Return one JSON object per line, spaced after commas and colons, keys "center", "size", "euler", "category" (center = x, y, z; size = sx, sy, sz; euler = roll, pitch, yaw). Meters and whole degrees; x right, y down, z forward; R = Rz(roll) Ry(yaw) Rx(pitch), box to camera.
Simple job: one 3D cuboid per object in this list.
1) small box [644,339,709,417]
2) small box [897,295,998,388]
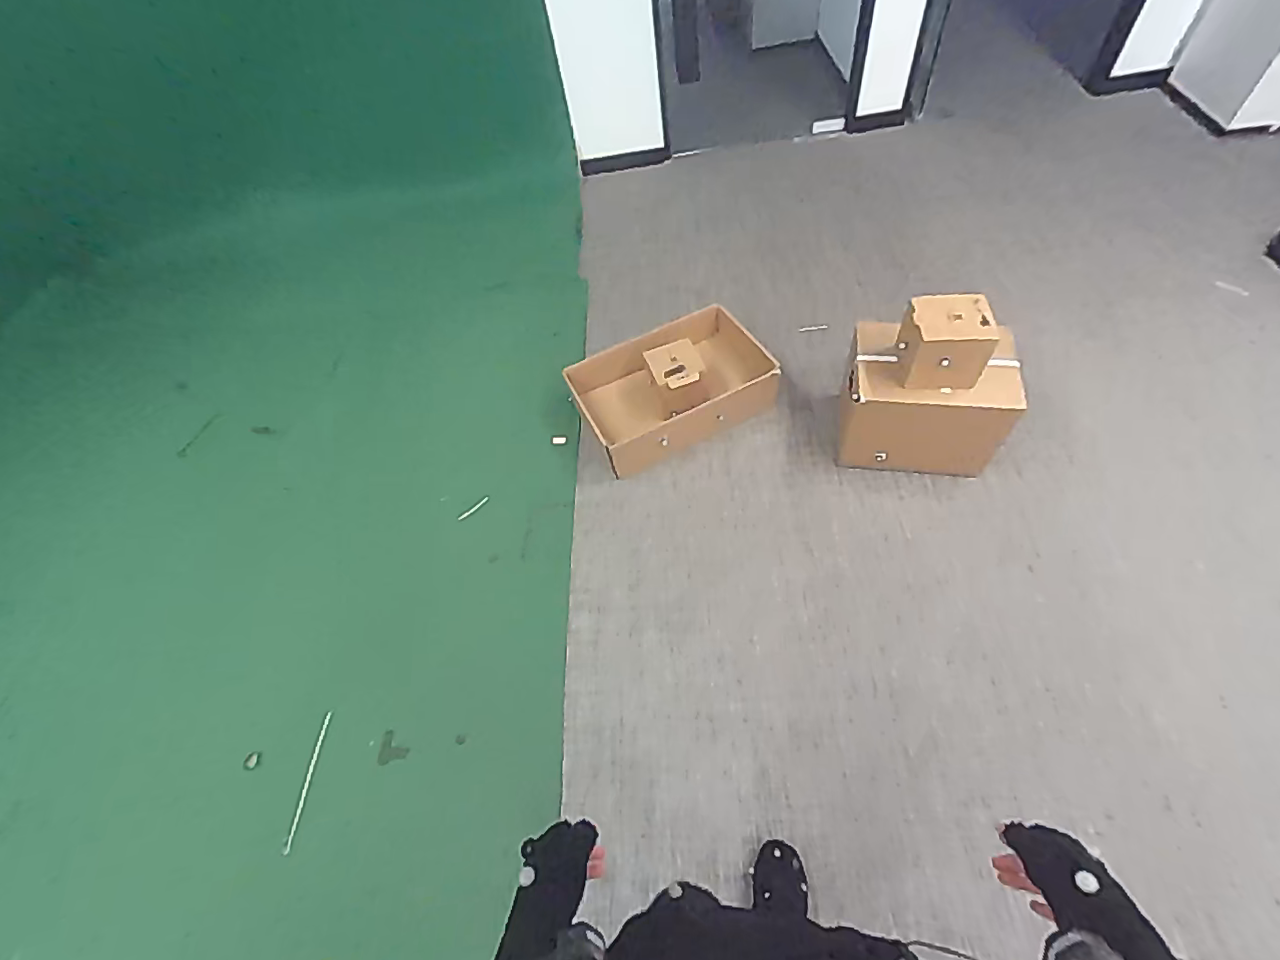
{"center": [0.125, -0.332, 1.807], "size": [0.168, 0.176, 0.179], "euler": [-19, 53, -3], "category": "small box"}
{"center": [0.776, -0.352, 1.390], "size": [0.179, 0.176, 0.168], "euler": [0, 57, 10], "category": "small box"}
